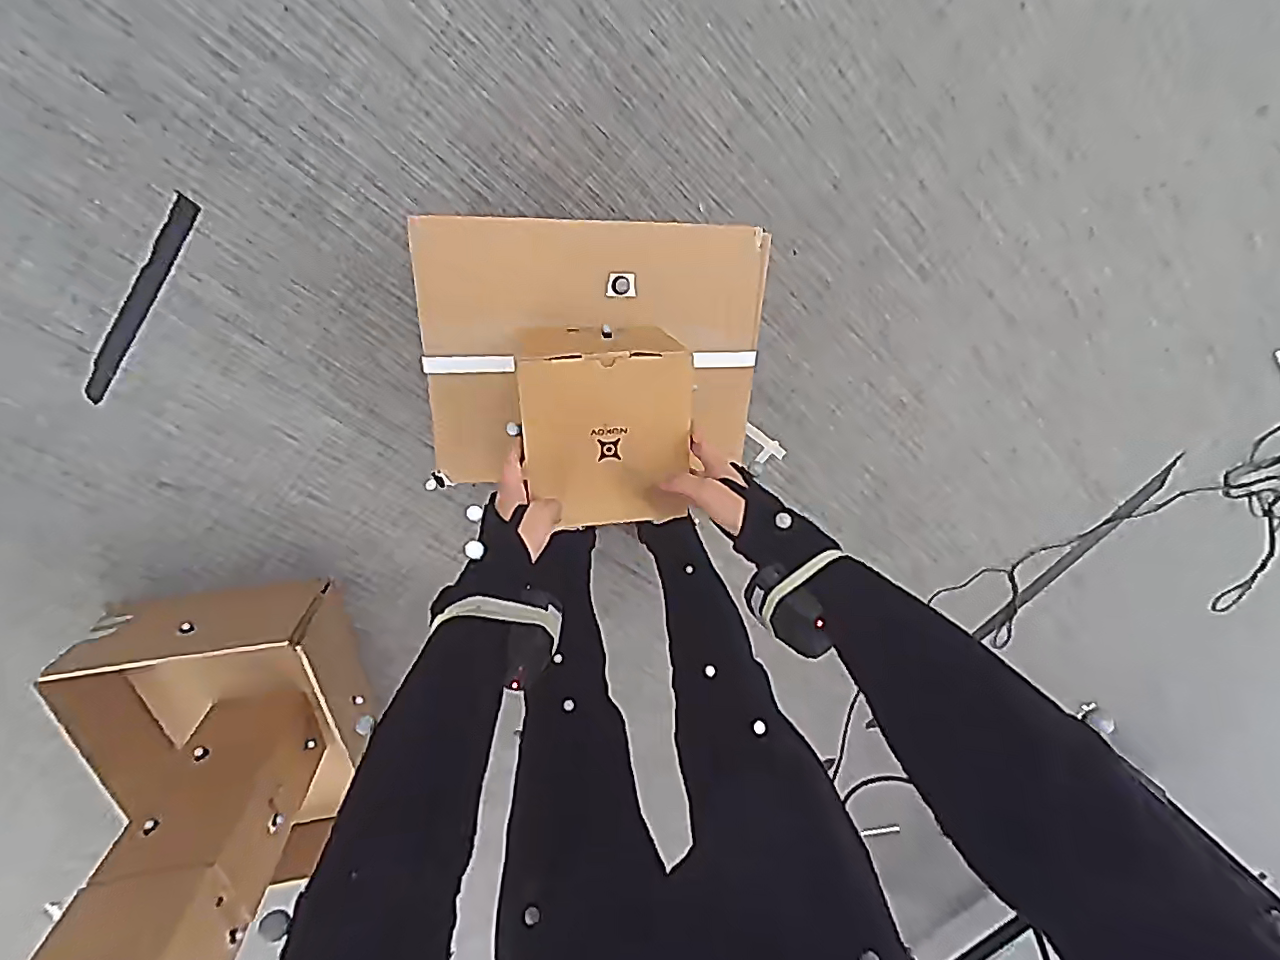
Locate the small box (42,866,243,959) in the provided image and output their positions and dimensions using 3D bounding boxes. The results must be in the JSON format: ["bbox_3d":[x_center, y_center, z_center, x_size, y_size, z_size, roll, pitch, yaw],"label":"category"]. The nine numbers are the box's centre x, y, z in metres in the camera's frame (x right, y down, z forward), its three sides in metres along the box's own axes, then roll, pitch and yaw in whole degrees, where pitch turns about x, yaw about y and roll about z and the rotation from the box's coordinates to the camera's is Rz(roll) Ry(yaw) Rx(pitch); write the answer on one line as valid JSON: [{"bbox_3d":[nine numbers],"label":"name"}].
[{"bbox_3d":[-0.694,0.673,0.749,0.179,0.176,0.168,-6,116,-6],"label":"small box"}]

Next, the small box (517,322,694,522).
[{"bbox_3d":[-0.043,-0.072,0.599,0.168,0.176,0.179,-4,114,-9],"label":"small box"}]

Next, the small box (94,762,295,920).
[{"bbox_3d":[-0.716,0.603,0.895,0.179,0.176,0.168,-6,116,-9],"label":"small box"}]

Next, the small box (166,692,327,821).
[{"bbox_3d":[-0.741,0.537,1.041,0.179,0.176,0.168,-4,116,-9],"label":"small box"}]
